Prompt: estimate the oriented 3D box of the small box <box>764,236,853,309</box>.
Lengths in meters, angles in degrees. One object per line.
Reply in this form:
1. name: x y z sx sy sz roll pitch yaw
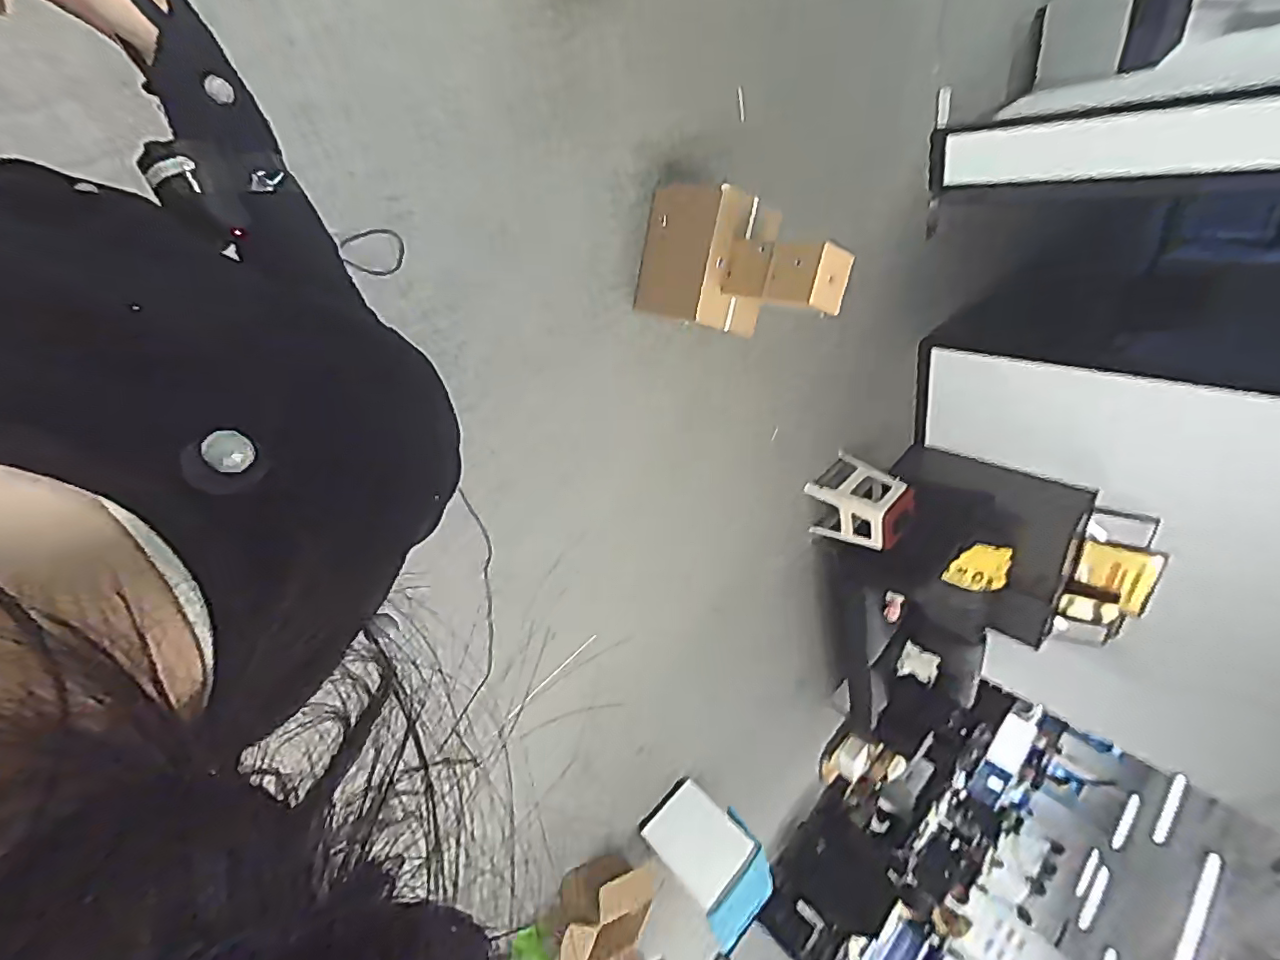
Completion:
1. small box: 0.486 -0.603 1.576 0.179 0.176 0.168 -4 111 -45
